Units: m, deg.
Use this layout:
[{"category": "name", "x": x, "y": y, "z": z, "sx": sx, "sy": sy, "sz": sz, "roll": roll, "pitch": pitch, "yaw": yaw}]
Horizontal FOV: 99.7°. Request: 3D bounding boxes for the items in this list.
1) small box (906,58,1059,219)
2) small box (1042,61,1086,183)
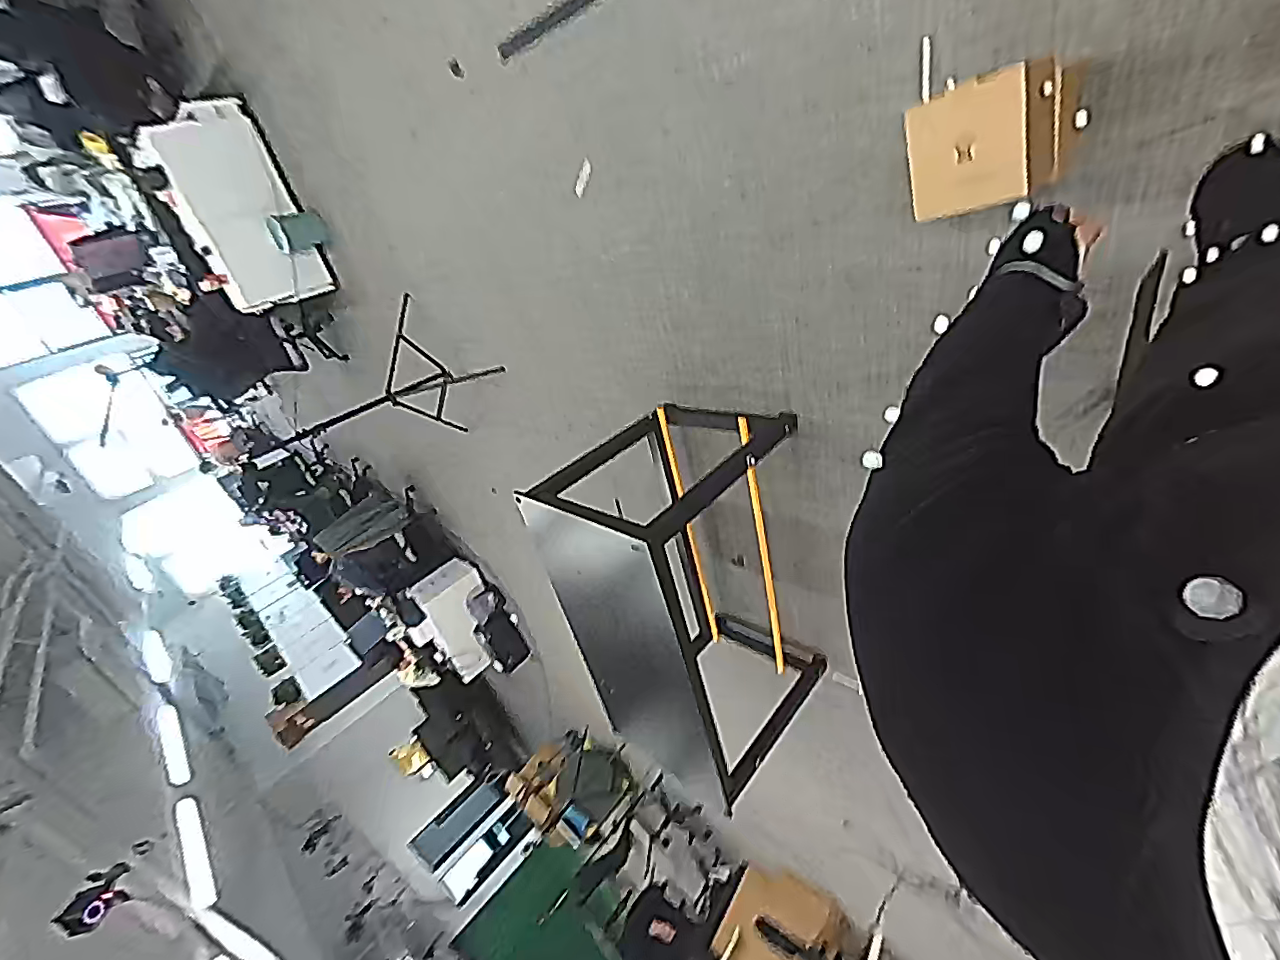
[{"category": "small box", "x": 0.560, "y": -0.554, "z": 0.881, "sx": 0.168, "sy": 0.176, "sz": 0.179, "roll": 9, "pitch": 128, "yaw": 48}, {"category": "small box", "x": 0.672, "y": -0.625, "z": 0.976, "sx": 0.179, "sy": 0.176, "sz": 0.168, "roll": 11, "pitch": 128, "yaw": 45}]
